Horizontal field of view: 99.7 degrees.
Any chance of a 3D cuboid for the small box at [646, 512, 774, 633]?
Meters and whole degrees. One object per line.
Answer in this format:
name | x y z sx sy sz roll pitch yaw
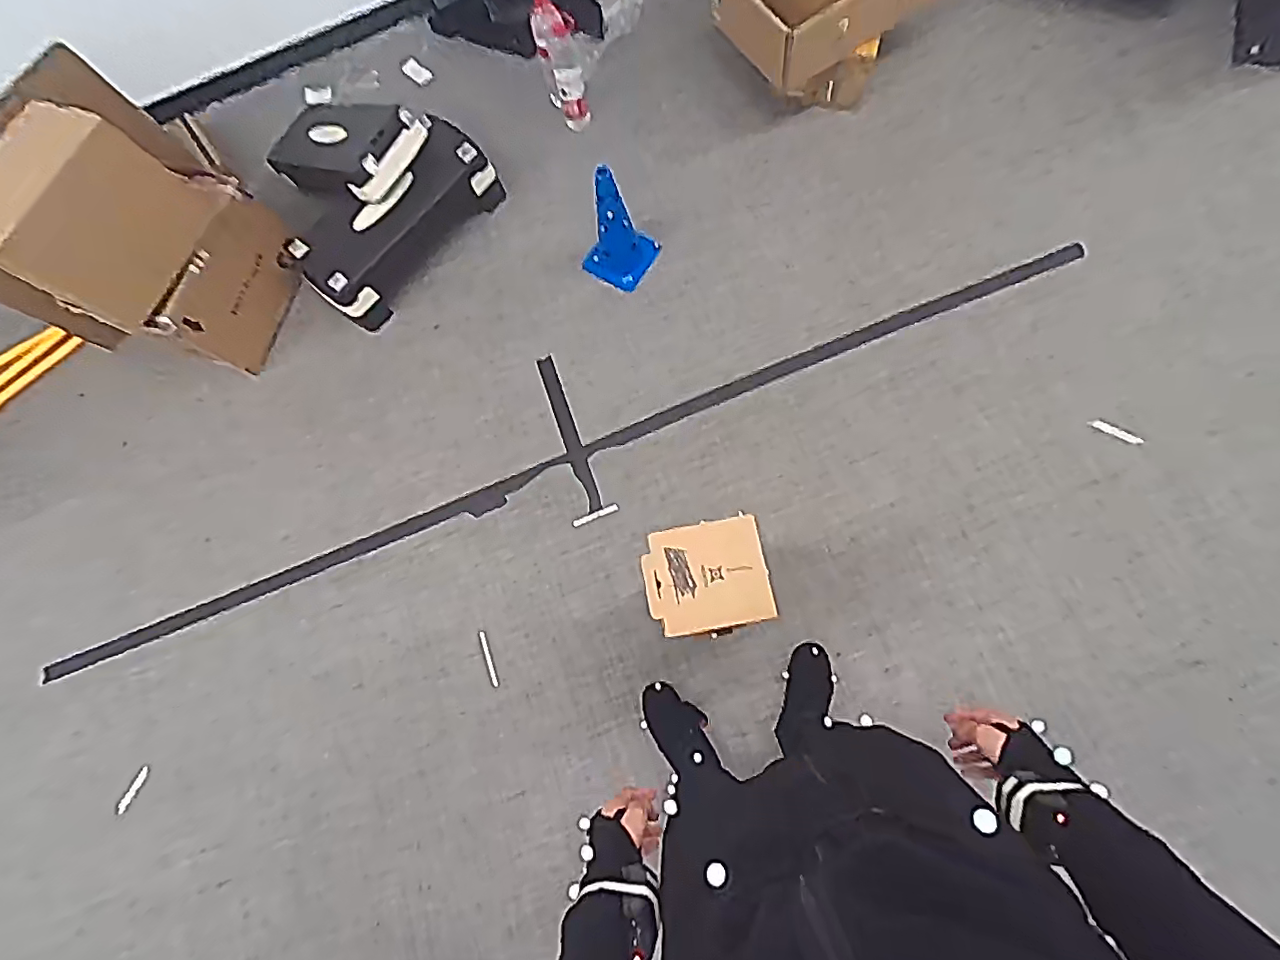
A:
small box | 0.116 0.163 0.922 0.179 0.176 0.168 -12 76 2
